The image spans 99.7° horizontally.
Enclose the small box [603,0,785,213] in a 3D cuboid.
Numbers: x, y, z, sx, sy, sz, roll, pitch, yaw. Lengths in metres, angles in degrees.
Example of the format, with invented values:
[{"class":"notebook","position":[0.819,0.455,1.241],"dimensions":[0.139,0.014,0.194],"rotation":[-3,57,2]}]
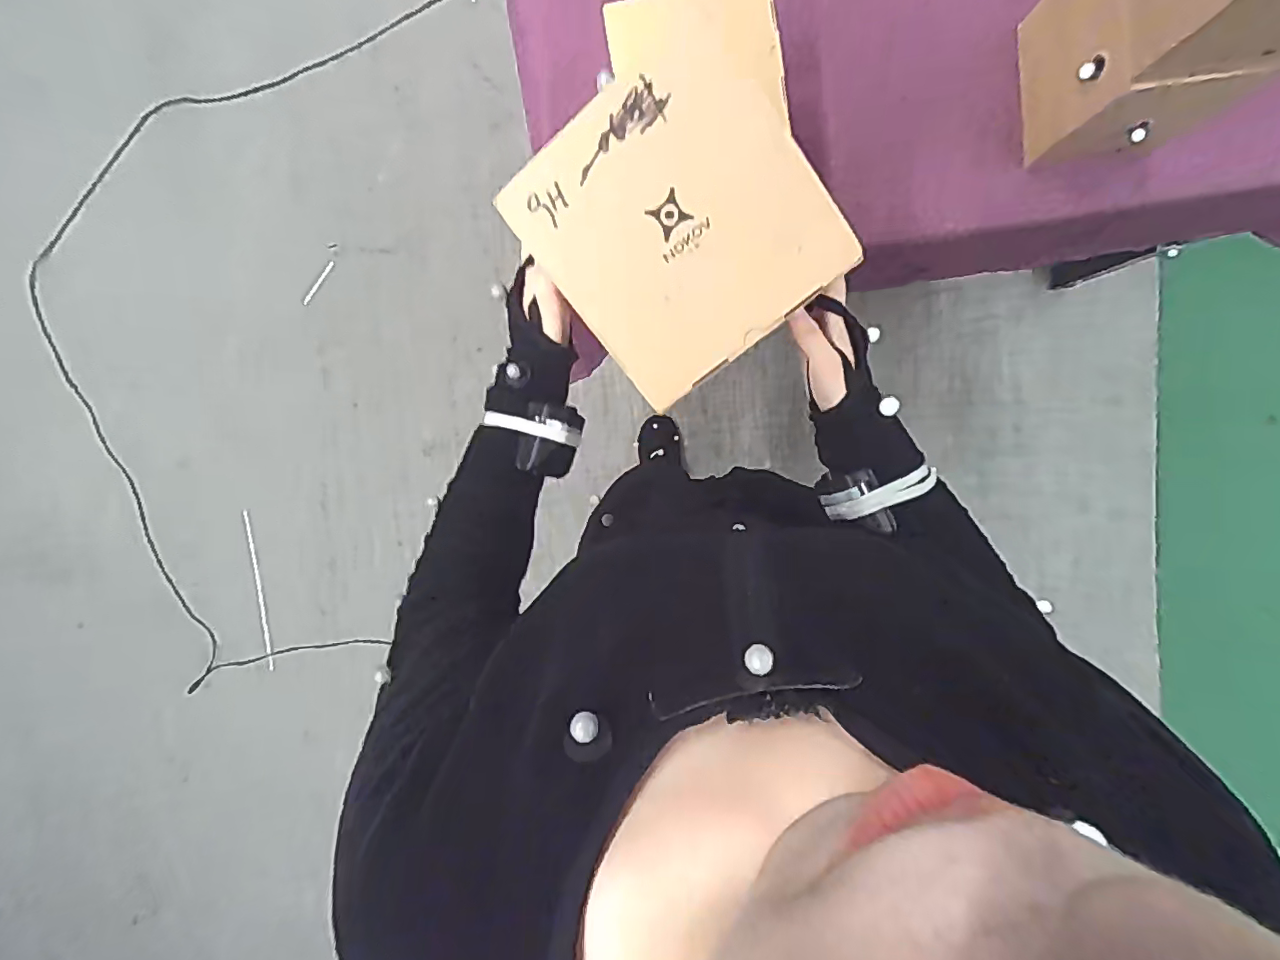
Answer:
[{"class":"small box","position":[0.063,-0.445,0.649],"dimensions":[0.179,0.176,0.168],"rotation":[-8,93,4]}]

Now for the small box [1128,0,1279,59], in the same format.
[{"class":"small box","position":[0.549,-0.484,0.440],"dimensions":[0.168,0.176,0.179],"rotation":[-3,93,5]}]

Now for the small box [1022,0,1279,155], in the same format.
[{"class":"small box","position":[0.562,-0.492,0.603],"dimensions":[0.168,0.176,0.179],"rotation":[-5,93,5]}]
